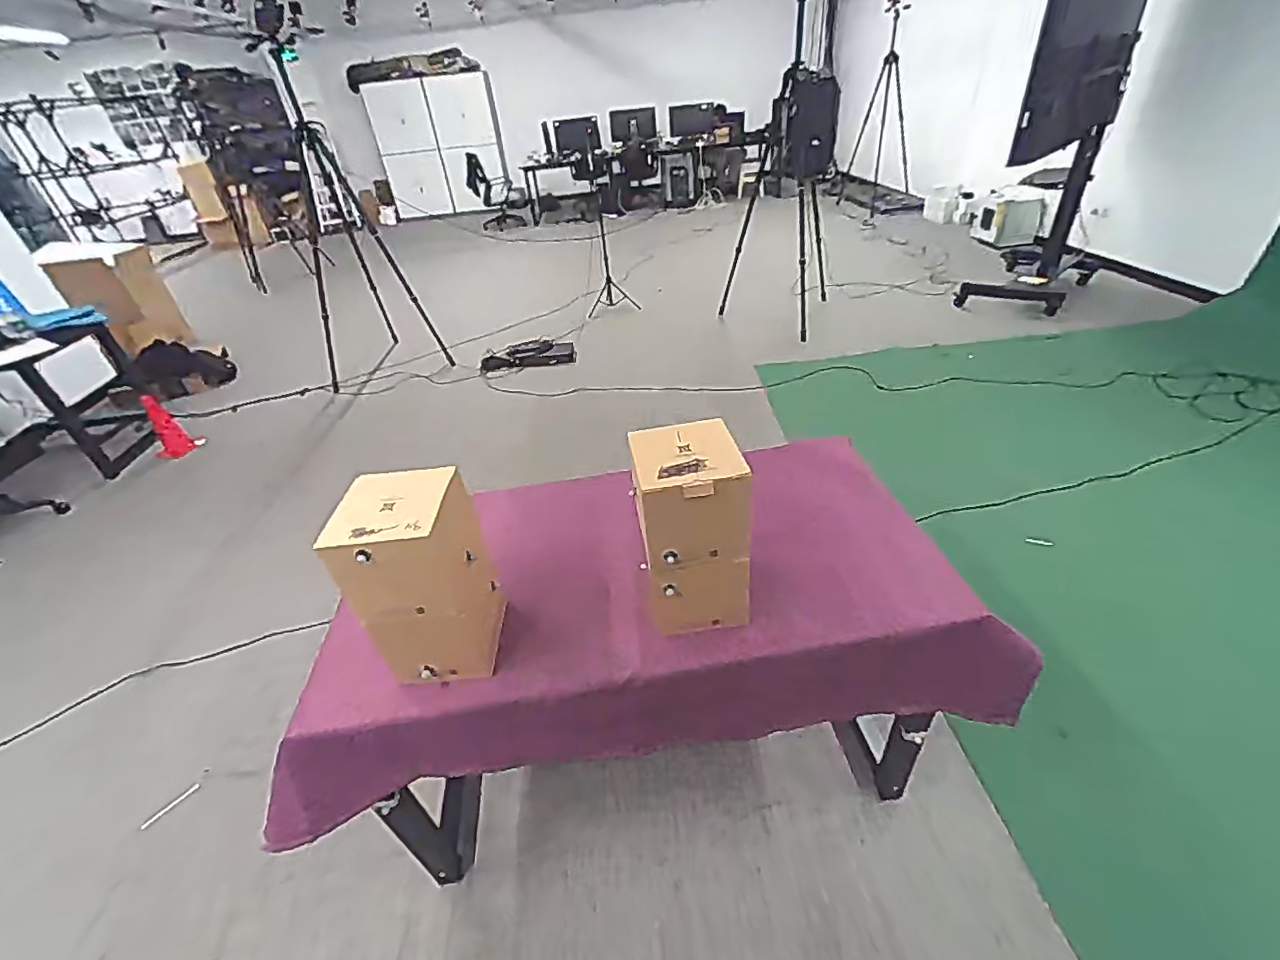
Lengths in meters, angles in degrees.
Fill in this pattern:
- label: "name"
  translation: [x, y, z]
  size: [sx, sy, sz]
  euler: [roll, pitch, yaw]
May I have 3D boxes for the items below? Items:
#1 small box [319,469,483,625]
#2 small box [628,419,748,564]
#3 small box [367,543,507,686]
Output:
- label: "small box"
  translation: [-0.363, 0.105, 0.864]
  size: [0.168, 0.176, 0.179]
  euler: [-8, 35, 3]
- label: "small box"
  translation: [0.078, 0.023, 0.898]
  size: [0.168, 0.176, 0.179]
  euler: [-10, 35, -3]
- label: "small box"
  translation: [-0.345, 0.237, 0.962]
  size: [0.168, 0.176, 0.179]
  euler: [-6, 37, 2]
